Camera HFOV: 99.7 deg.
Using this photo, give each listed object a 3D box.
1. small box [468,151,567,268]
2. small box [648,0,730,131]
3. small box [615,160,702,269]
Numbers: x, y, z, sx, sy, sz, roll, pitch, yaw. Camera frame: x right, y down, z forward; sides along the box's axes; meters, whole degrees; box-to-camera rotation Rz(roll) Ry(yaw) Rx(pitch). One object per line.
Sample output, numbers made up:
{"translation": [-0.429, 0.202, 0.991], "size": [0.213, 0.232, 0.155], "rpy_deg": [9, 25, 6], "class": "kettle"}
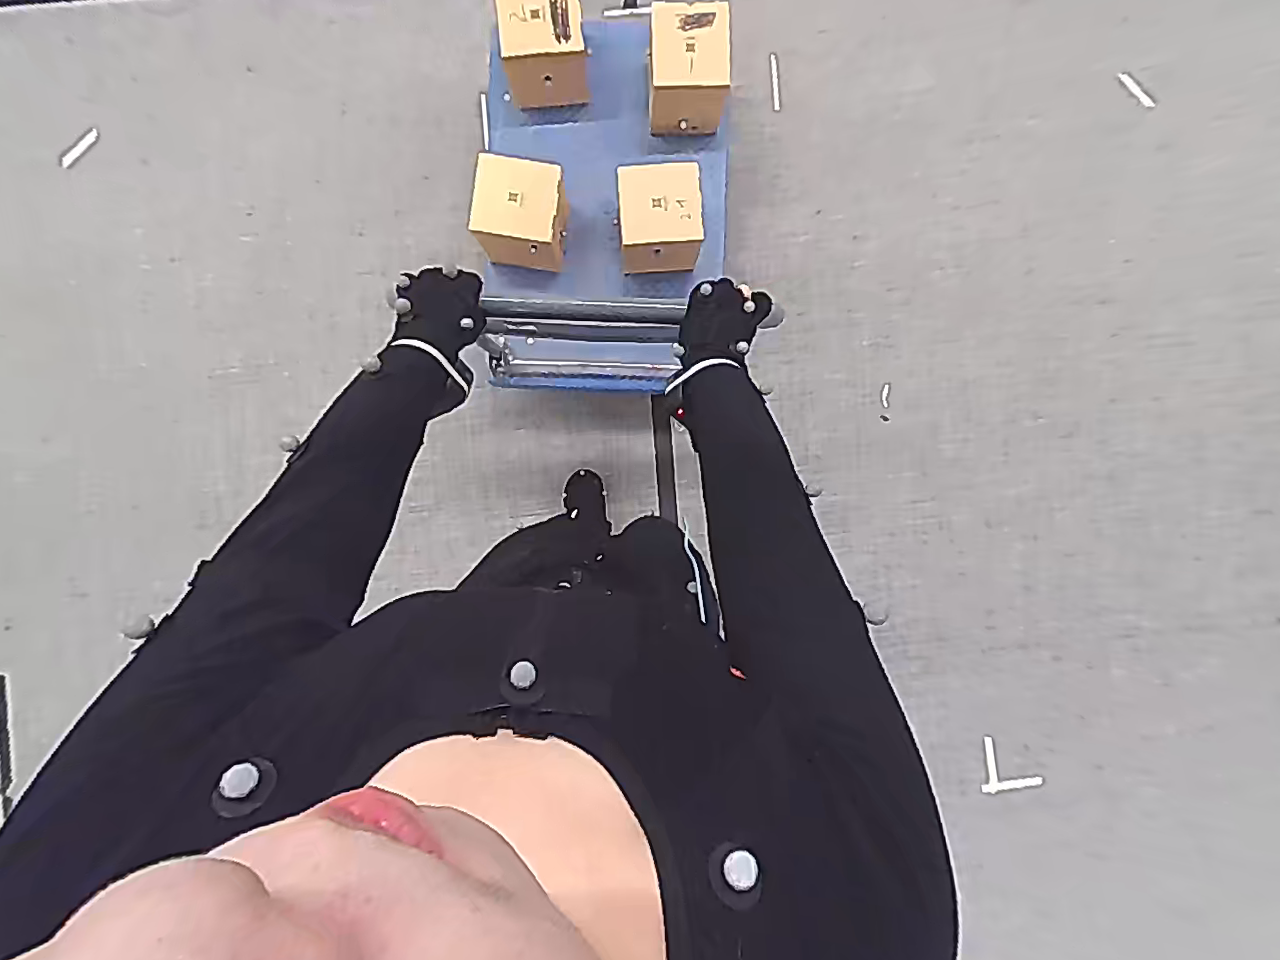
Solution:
{"translation": [-0.265, -0.592, 1.203], "size": [0.179, 0.176, 0.168], "rpy_deg": [8, 91, -3], "class": "small box"}
{"translation": [0.103, -0.917, 1.204], "size": [0.168, 0.176, 0.179], "rpy_deg": [-1, 92, -1], "class": "small box"}
{"translation": [0.039, -0.584, 1.210], "size": [0.179, 0.176, 0.168], "rpy_deg": [-4, 92, -1], "class": "small box"}
